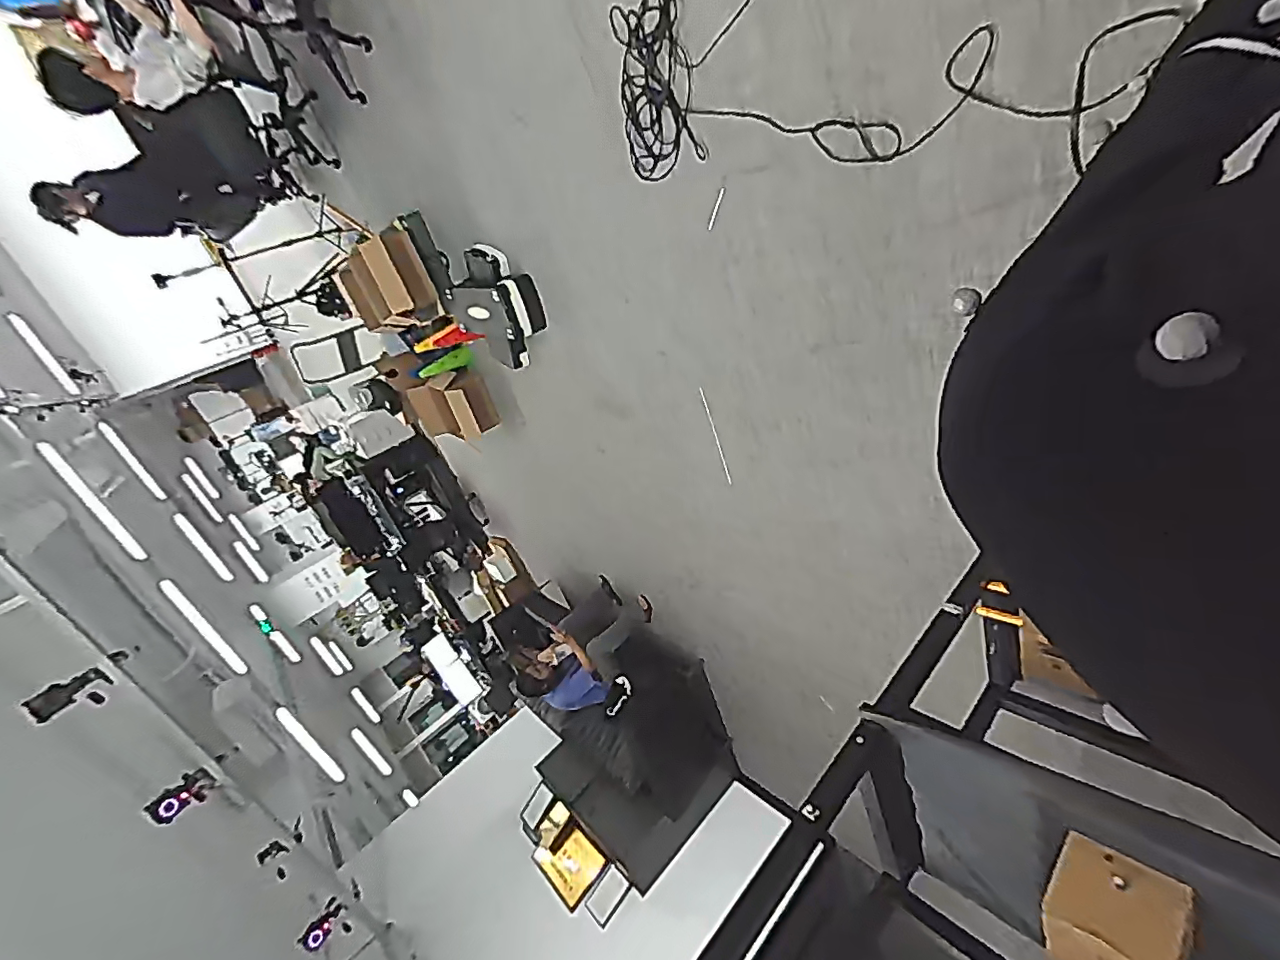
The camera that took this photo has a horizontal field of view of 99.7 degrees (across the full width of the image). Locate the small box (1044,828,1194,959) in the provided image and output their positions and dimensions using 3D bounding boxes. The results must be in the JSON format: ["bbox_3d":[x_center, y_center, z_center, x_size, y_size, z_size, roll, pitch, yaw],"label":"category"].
[{"bbox_3d":[0.834,0.765,0.942,0.168,0.176,0.179,8,128,51],"label":"small box"}]
